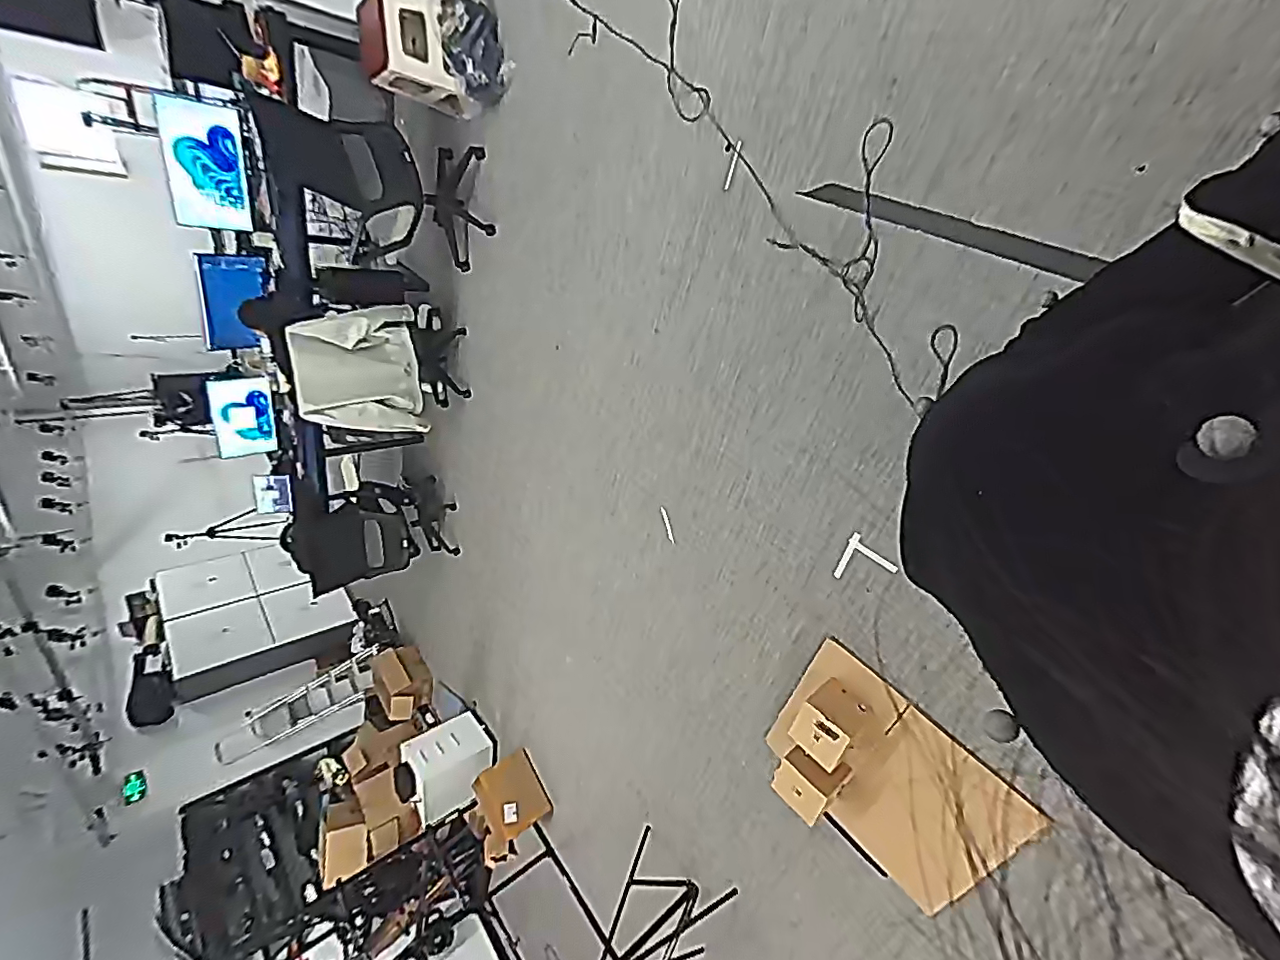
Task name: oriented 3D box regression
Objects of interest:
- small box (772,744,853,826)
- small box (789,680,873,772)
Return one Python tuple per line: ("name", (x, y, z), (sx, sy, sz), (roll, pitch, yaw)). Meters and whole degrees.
("small box", (0.585, 1.012, 1.837), (0.179, 0.176, 0.168), (34, 126, 37))
("small box", (0.615, 0.778, 1.728), (0.168, 0.176, 0.179), (37, 127, 36))
